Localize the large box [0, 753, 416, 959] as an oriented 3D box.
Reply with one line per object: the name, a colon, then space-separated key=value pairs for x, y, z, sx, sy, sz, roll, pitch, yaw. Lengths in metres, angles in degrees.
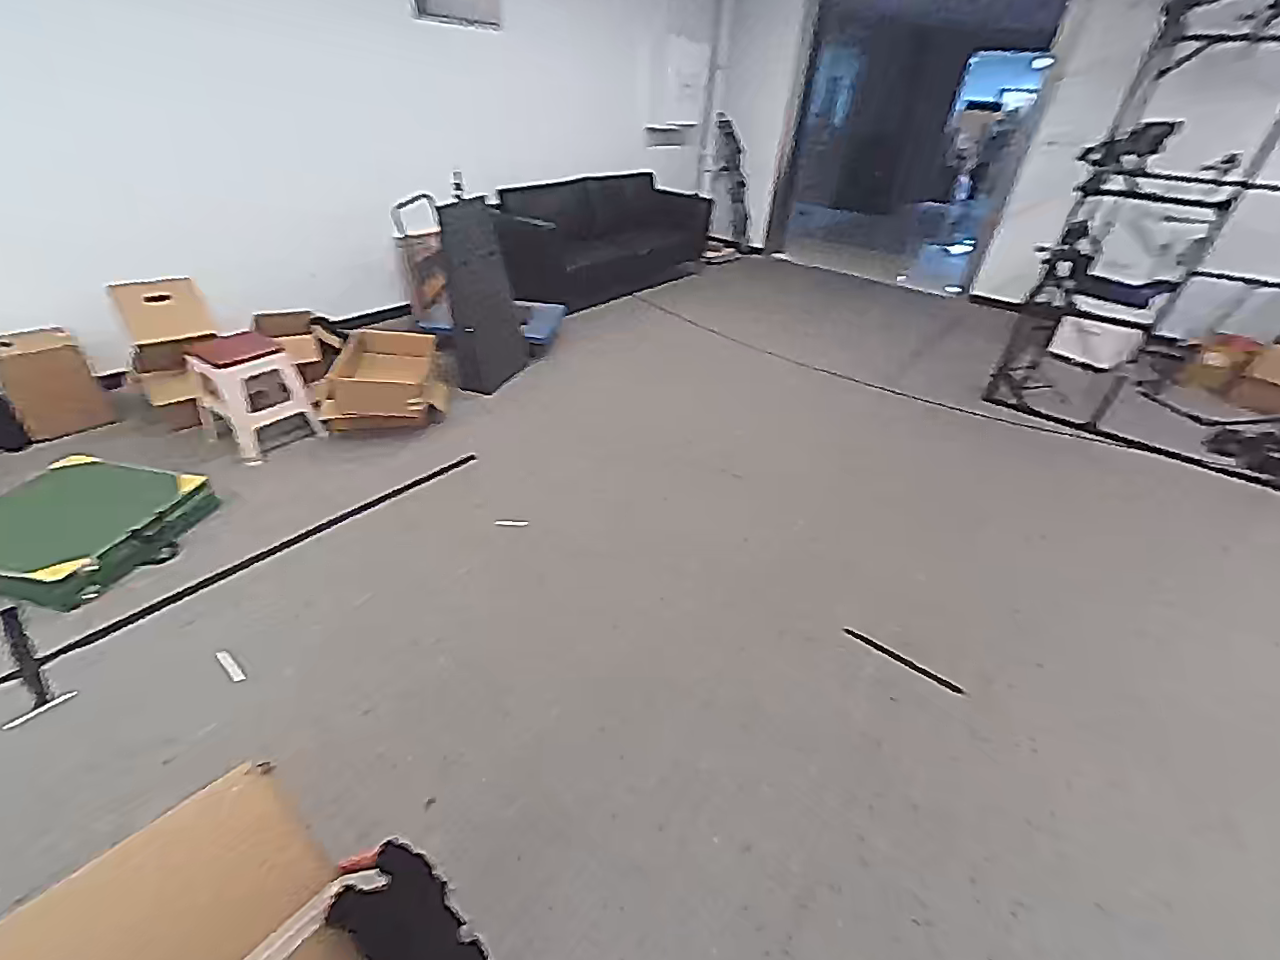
large box: x=-0.417 y=0.542 z=0.442 sx=0.320 sy=0.320 sz=0.408 roll=38 pitch=42 yaw=22
